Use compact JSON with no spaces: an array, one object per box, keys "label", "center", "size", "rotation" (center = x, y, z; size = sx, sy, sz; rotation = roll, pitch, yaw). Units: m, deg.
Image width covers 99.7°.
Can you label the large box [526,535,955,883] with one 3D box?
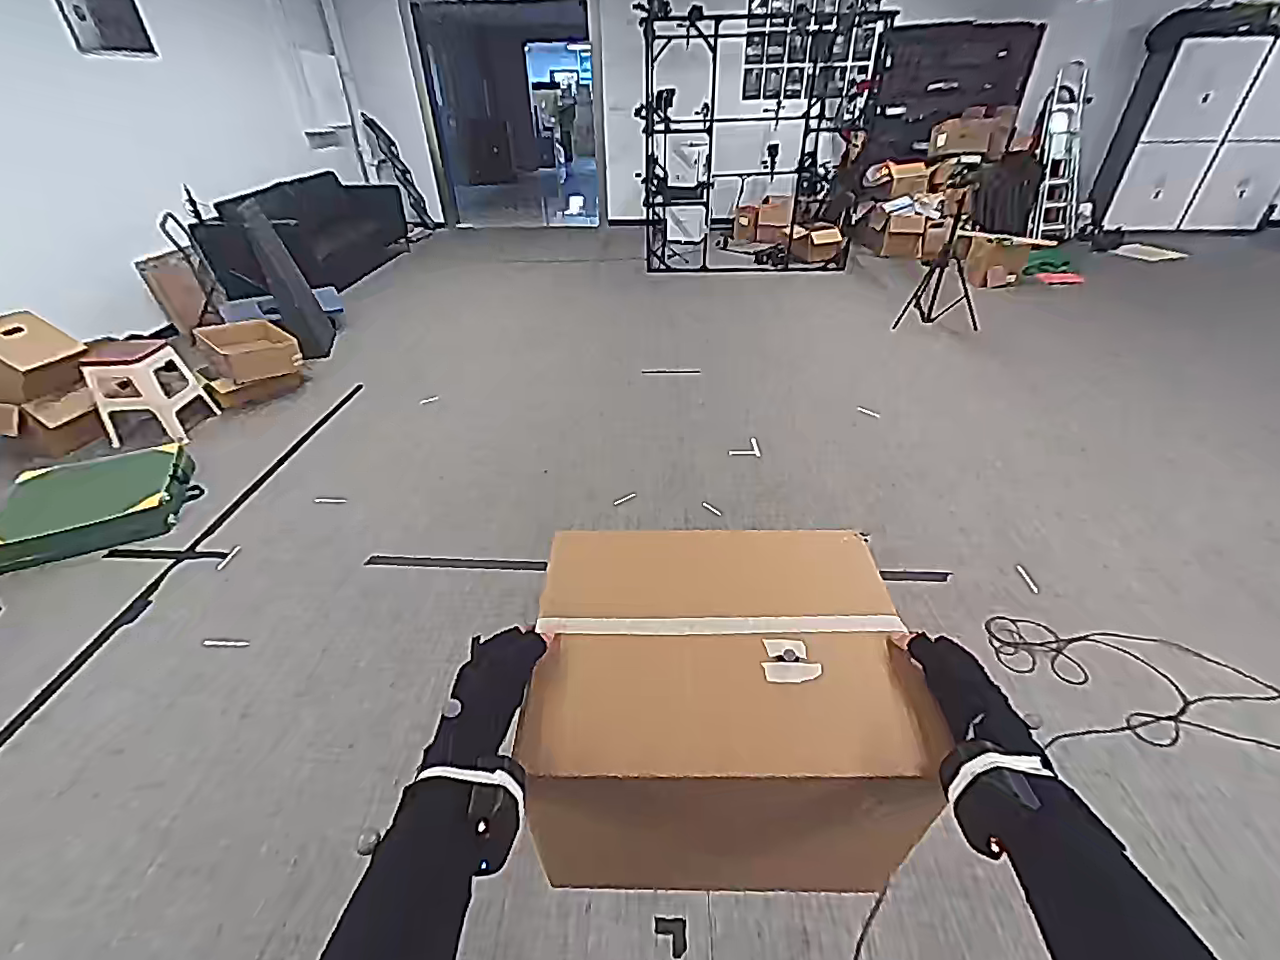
[{"label":"large box","center":[0.091,0.286,0.698],"size":[0.408,0.320,0.320],"rotation":[0,38,1]}]
